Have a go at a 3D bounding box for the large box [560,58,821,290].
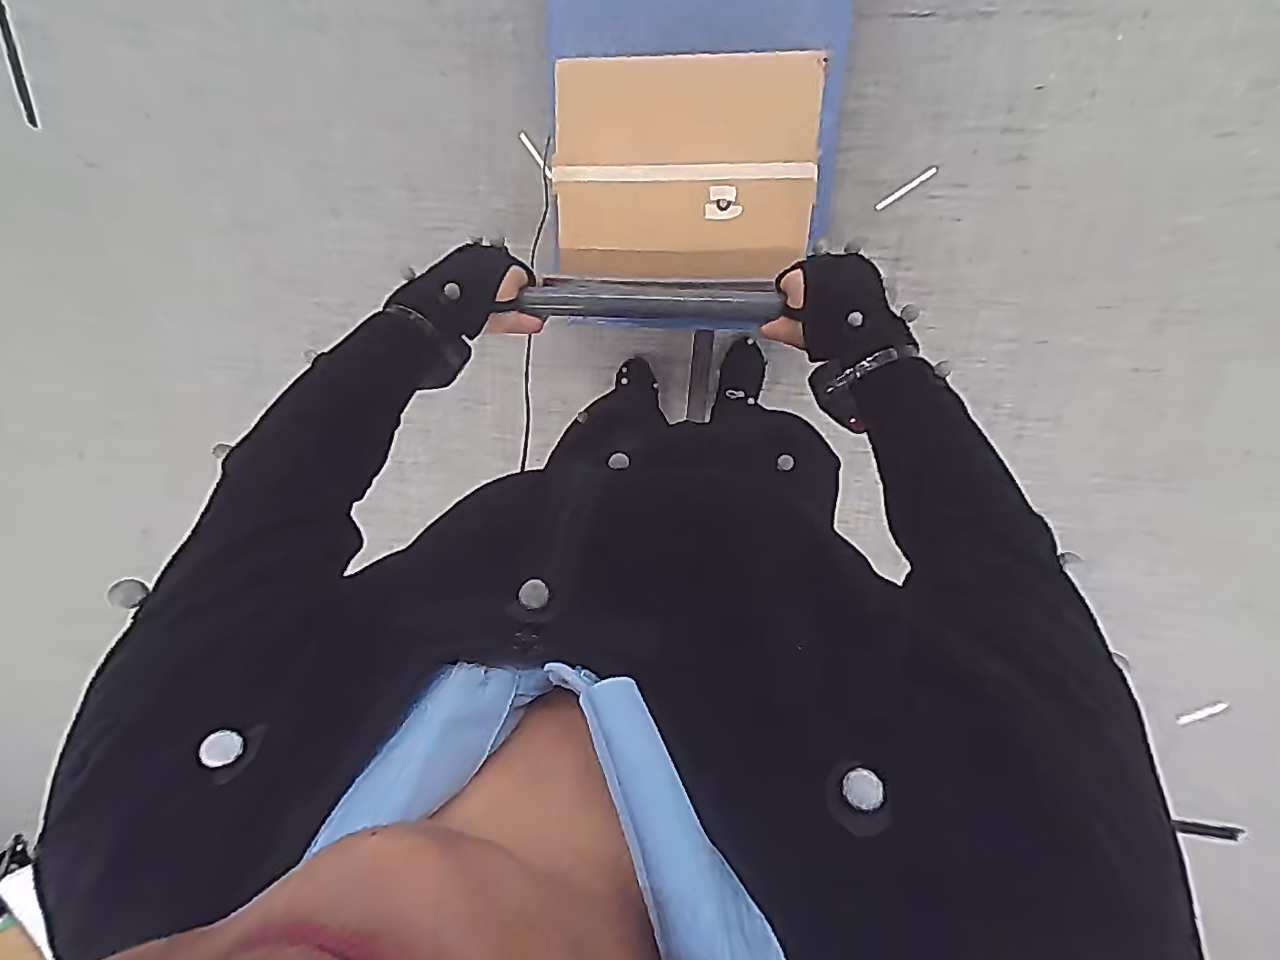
[{"bbox_3d":[0.086,-0.526,1.004,0.408,0.320,0.320,2,108,6],"label":"large box"}]
